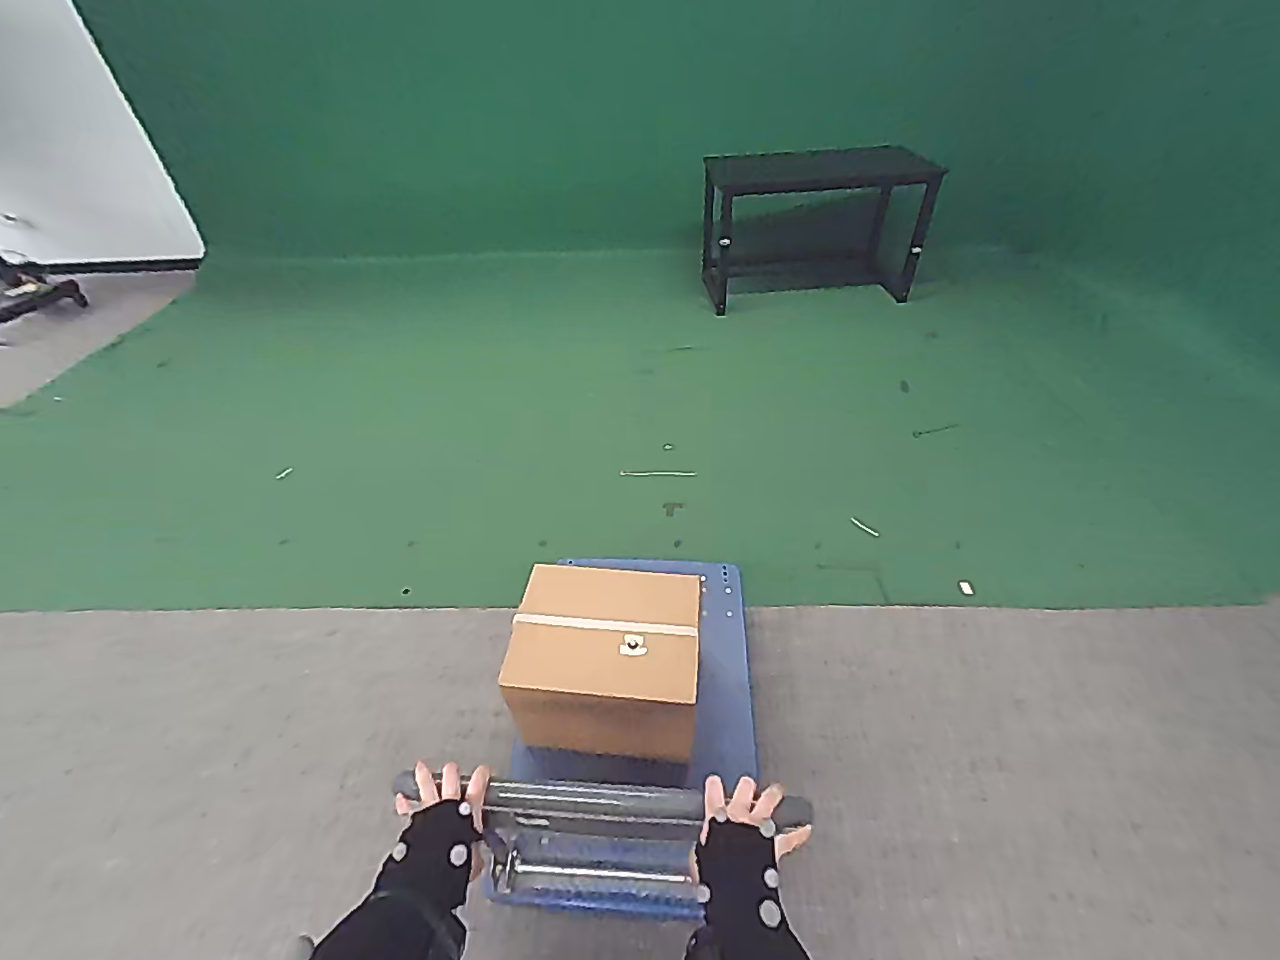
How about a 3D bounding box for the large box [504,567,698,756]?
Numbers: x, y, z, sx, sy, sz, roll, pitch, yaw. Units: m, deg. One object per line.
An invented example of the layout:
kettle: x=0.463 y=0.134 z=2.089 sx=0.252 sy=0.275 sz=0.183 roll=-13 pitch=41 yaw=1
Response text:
large box: x=-0.072 y=0.436 z=1.306 sx=0.408 sy=0.320 sz=0.320 roll=4 pitch=43 yaw=5
